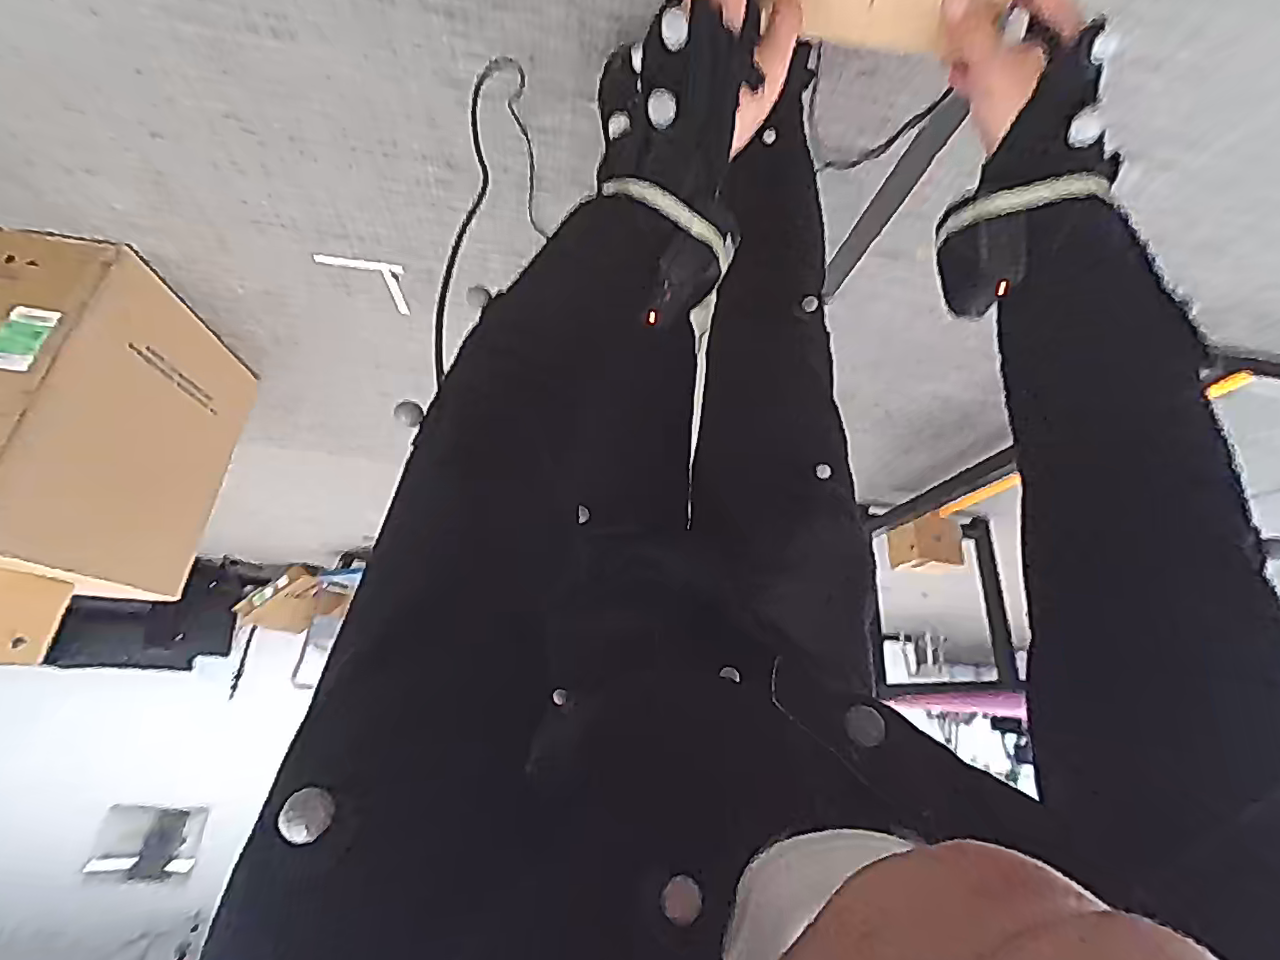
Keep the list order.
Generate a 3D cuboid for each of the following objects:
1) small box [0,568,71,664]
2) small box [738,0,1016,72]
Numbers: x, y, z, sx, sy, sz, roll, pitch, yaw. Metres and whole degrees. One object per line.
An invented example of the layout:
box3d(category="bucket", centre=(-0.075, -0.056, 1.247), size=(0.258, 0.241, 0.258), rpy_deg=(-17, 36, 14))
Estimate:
box3d(category="small box", centre=(-1.261, 0.252, 1.021), size=(0.168, 0.176, 0.179), rpy_deg=(7, 158, -9))
box3d(category="small box", centre=(0.146, -0.384, 0.316), size=(0.168, 0.176, 0.179), rpy_deg=(3, 146, -7))
